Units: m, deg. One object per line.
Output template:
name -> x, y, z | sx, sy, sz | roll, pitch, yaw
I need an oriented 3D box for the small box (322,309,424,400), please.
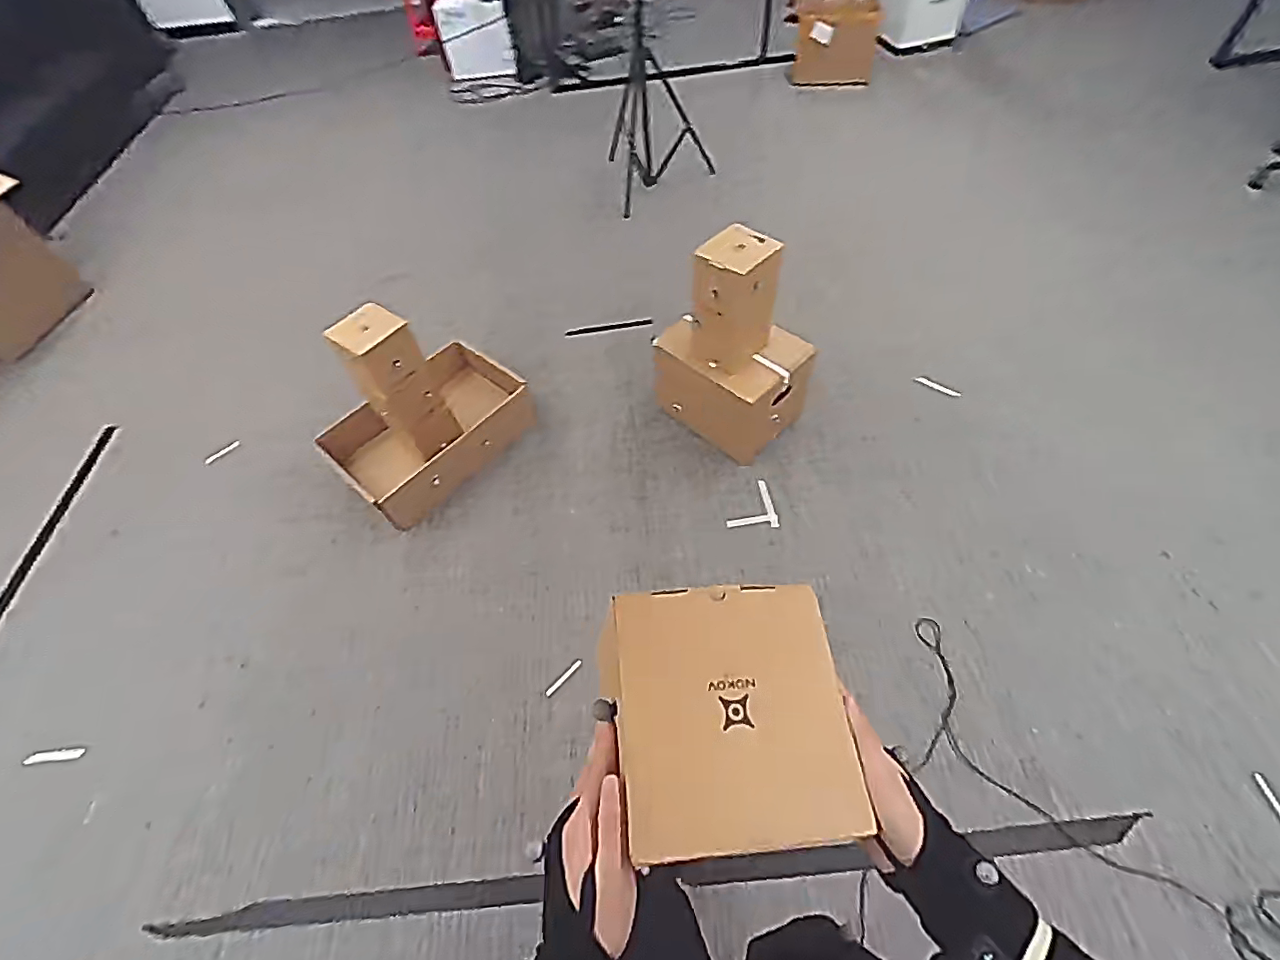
small box -> -0.761, -0.358, 1.564 | 0.179, 0.176, 0.168 | 29, 61, 23

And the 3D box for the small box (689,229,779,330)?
small box -> 0.252, -0.539, 1.466 | 0.168, 0.176, 0.179 | 38, 67, 26

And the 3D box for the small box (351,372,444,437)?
small box -> -0.753, -0.260, 1.697 | 0.179, 0.176, 0.168 | 28, 61, 24

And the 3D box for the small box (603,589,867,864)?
small box -> 0.057, 0.206, 0.459 | 0.168, 0.176, 0.179 | -1, 58, -9

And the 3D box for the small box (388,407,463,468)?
small box -> -0.735, -0.170, 1.831 | 0.179, 0.176, 0.168 | 34, 64, 24
